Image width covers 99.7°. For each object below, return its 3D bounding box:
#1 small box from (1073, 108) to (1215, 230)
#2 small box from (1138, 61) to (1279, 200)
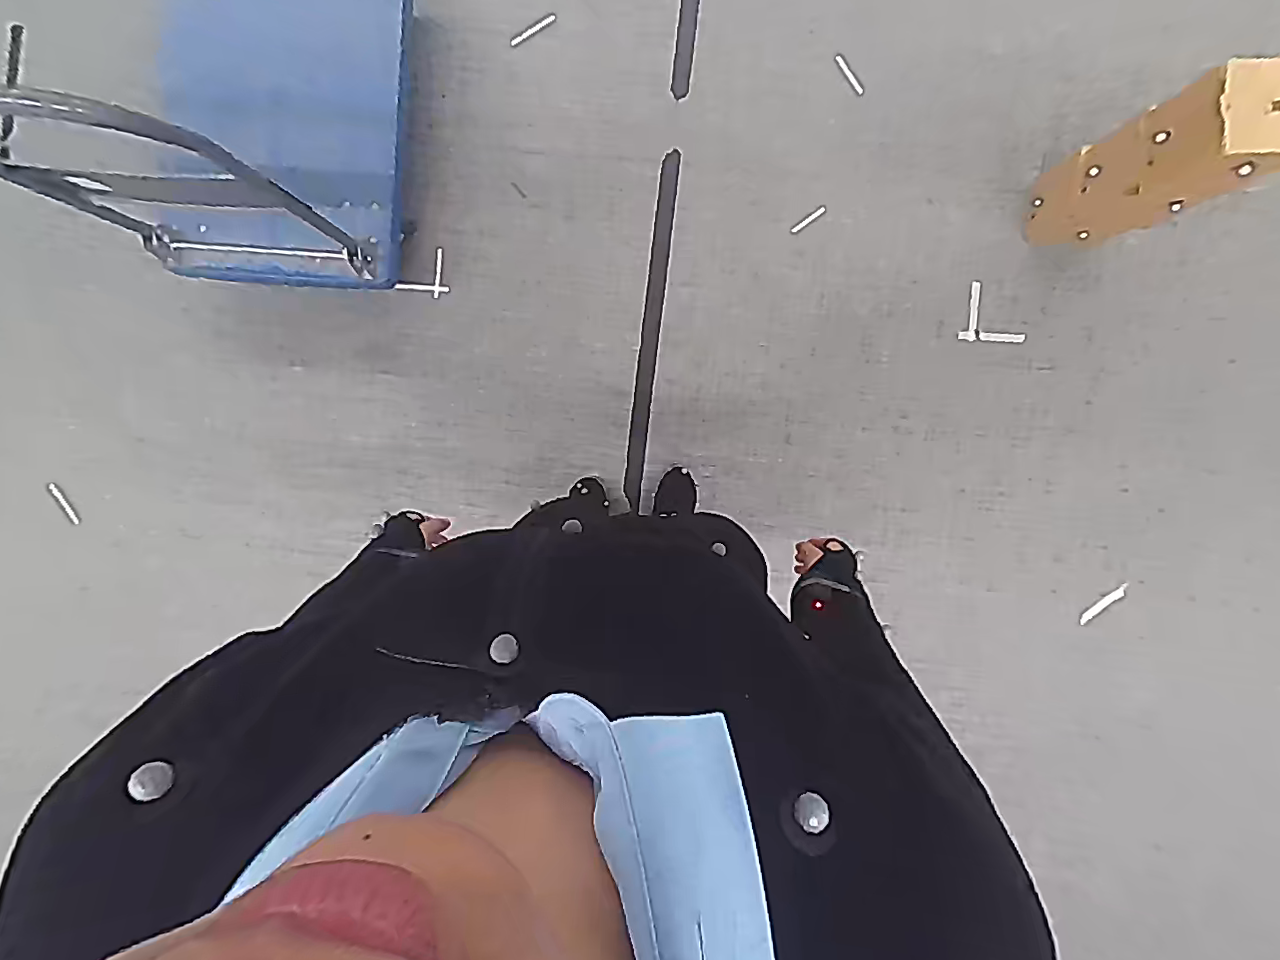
[{"bbox_3d":[1.124,-0.678,1.199,0.179,0.176,0.168,10,91,2],"label":"small box"},{"bbox_3d":[1.119,-0.660,1.037,0.179,0.176,0.168,-1,92,2],"label":"small box"}]
